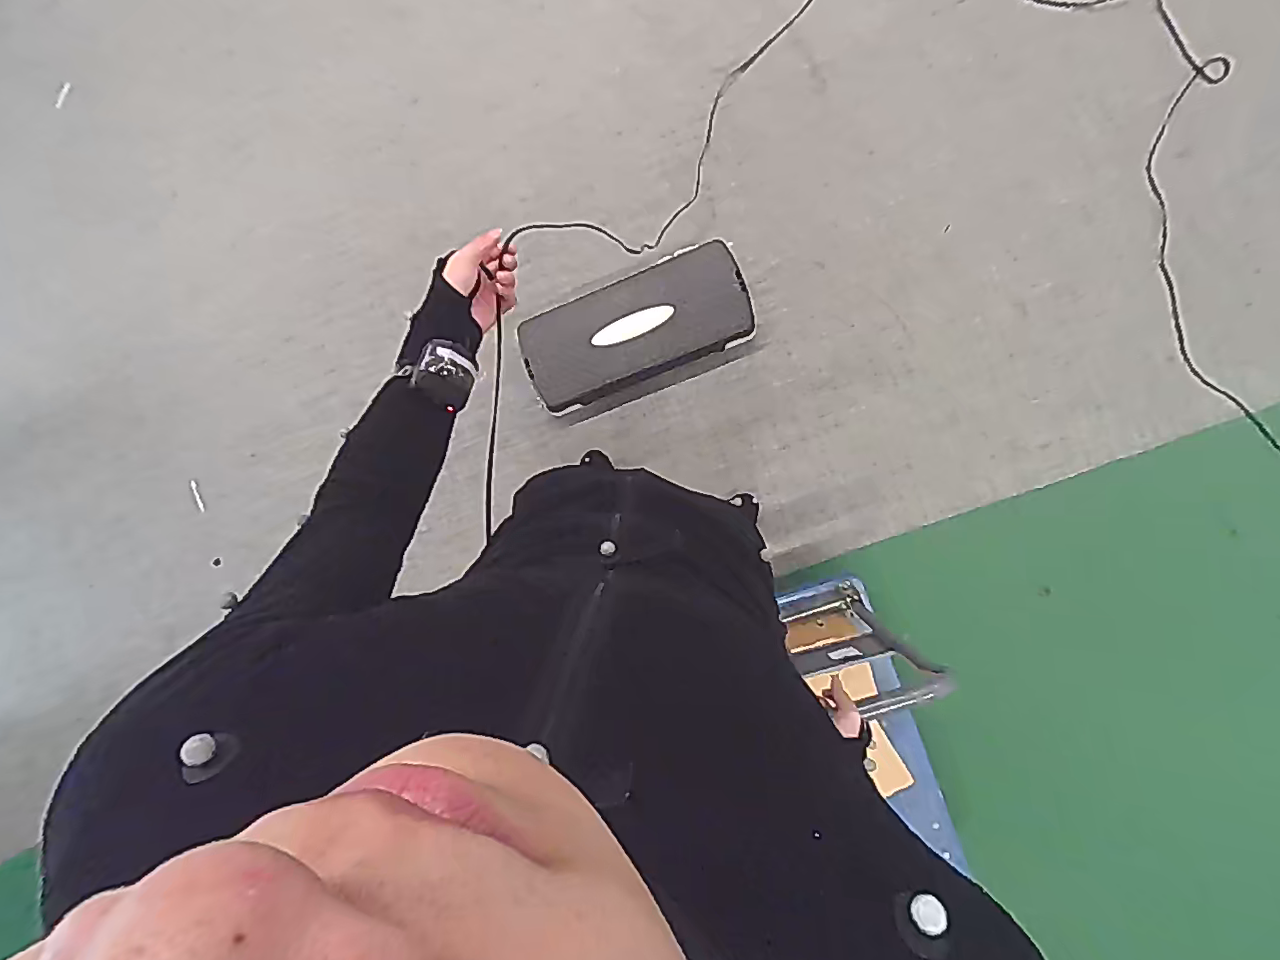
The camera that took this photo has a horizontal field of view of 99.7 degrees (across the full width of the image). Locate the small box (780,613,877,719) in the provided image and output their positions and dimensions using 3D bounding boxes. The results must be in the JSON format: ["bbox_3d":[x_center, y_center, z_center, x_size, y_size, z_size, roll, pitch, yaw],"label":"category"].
[{"bbox_3d":[0.452,0.448,1.322,0.168,0.176,0.179,-16,90,7],"label":"small box"}]

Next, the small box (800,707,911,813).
[{"bbox_3d":[0.515,0.653,1.321,0.168,0.176,0.179,-32,89,7],"label":"small box"}]
